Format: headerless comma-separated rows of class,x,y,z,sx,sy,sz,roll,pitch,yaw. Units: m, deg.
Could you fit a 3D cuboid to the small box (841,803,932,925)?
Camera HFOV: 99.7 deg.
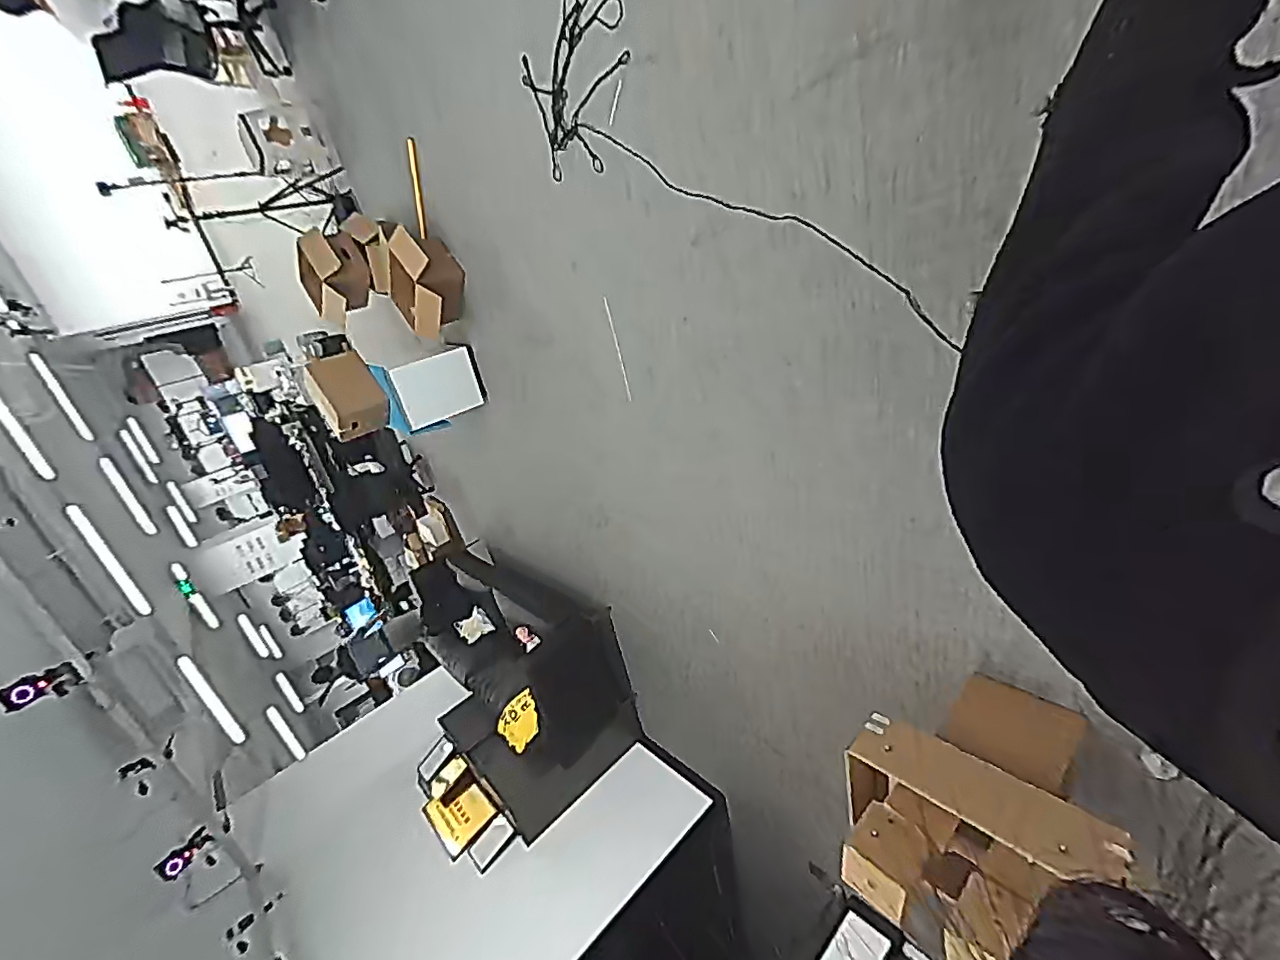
small box,0.664,1.024,1.457,0.168,0.176,0.179,22,131,44

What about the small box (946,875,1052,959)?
small box,0.840,1.089,1.266,0.168,0.176,0.179,12,123,49

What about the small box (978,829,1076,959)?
small box,0.968,1.036,1.355,0.168,0.176,0.179,11,123,49
